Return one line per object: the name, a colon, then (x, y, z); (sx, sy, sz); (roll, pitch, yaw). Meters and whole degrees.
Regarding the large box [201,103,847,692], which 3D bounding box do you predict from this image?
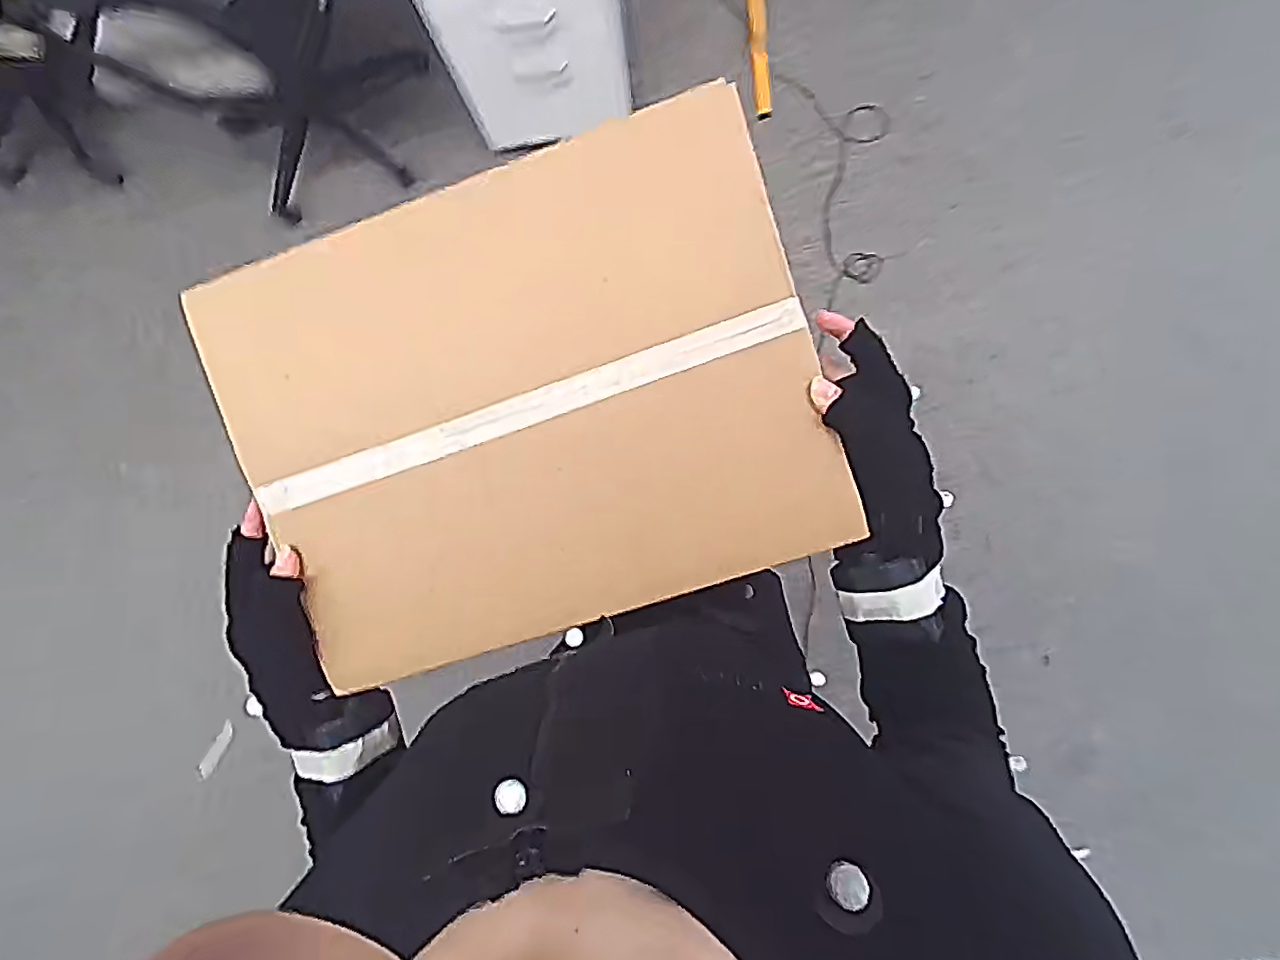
large box: (-0.077, -0.060, 0.534); (0.408, 0.320, 0.320); (-19, 93, 6)
